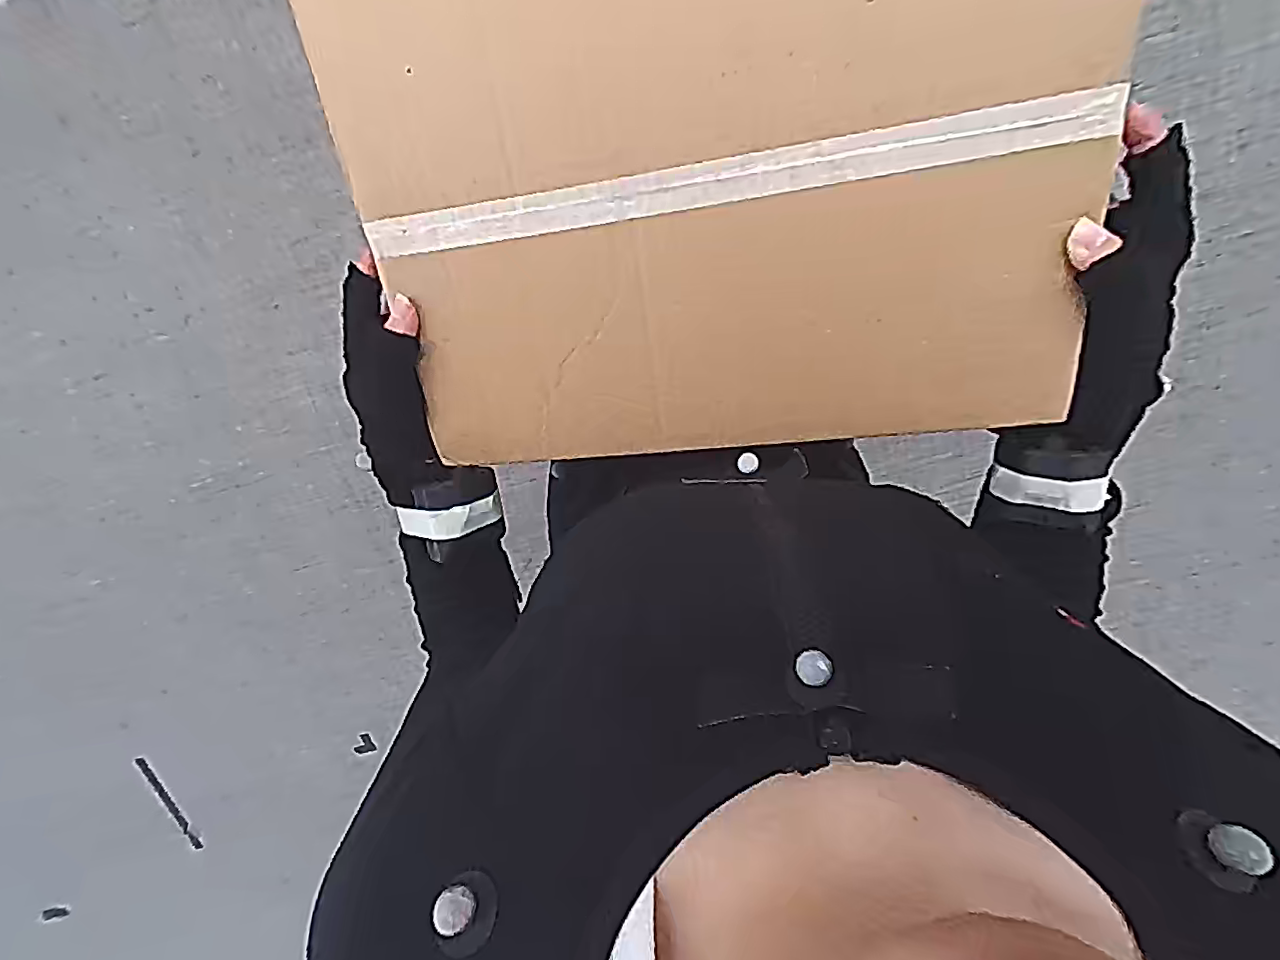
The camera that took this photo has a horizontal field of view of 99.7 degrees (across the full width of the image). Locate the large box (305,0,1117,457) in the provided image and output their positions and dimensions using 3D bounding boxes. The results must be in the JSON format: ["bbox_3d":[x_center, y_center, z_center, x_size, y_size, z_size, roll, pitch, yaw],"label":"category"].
[{"bbox_3d":[0.053,-0.234,0.435,0.408,0.320,0.320,-4,115,11],"label":"large box"}]
